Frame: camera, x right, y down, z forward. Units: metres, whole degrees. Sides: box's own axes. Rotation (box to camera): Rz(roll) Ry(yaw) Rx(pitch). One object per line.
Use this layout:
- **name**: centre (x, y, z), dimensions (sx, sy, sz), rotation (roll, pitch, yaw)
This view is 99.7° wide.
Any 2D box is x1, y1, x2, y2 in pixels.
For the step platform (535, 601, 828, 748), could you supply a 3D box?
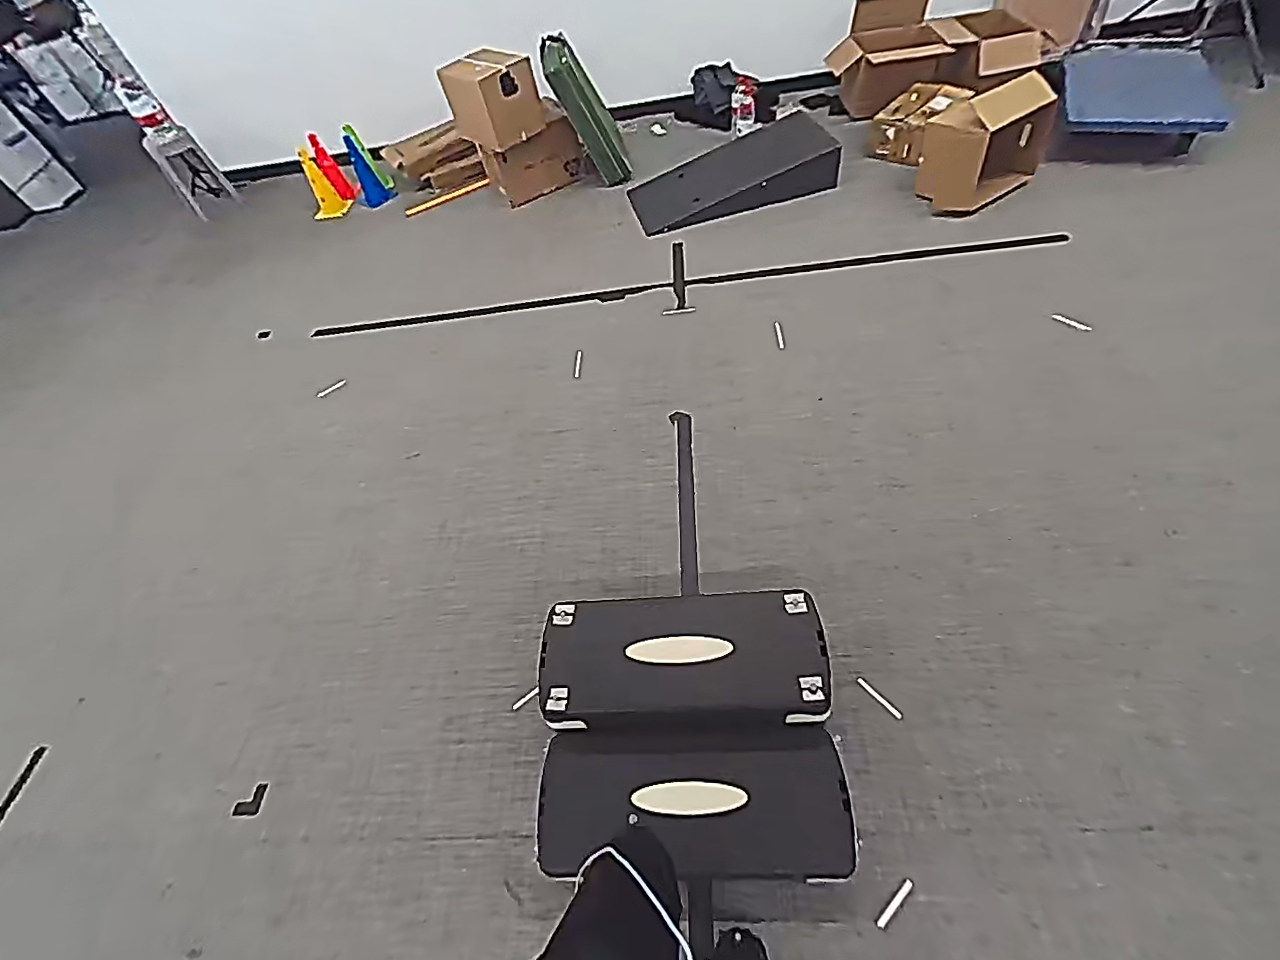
- **step platform**: centre (0.092, 0.468, 1.308), dimensions (0.684, 0.204, 0.286), rotation (-5, 54, 6)
